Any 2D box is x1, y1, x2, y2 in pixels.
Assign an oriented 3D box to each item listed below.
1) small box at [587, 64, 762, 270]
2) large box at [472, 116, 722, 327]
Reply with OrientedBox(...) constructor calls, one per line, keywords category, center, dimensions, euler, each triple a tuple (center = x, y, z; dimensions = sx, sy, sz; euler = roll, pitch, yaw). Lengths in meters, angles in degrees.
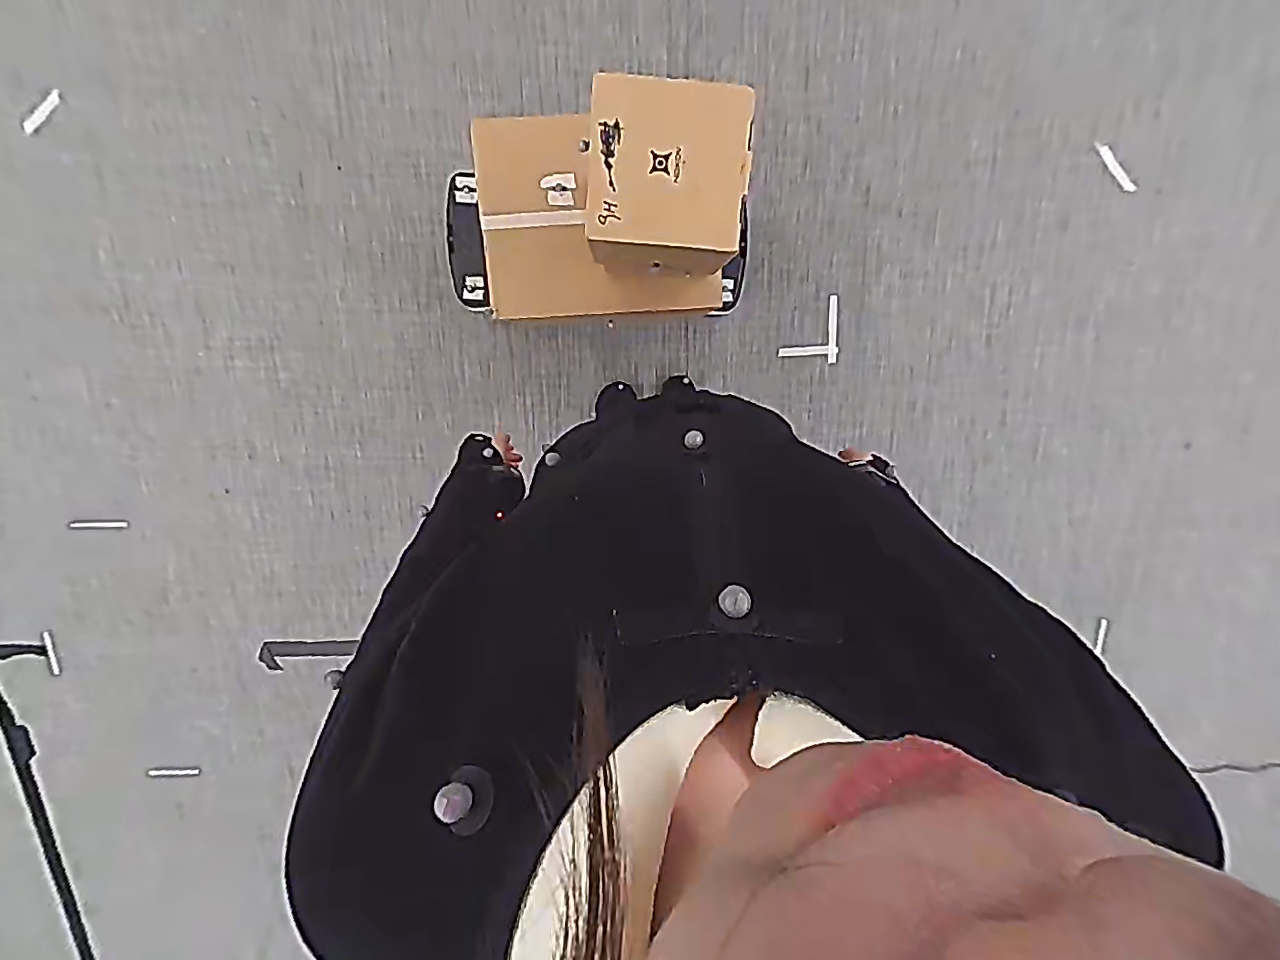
OrientedBox(category="small box", center=(0.031, -0.358, 0.655), dimensions=(0.179, 0.176, 0.168), euler=(4, 102, -4))
OrientedBox(category="large box", center=(-0.065, -0.472, 1.046), dimensions=(0.408, 0.320, 0.320), euler=(-3, 102, 0))
